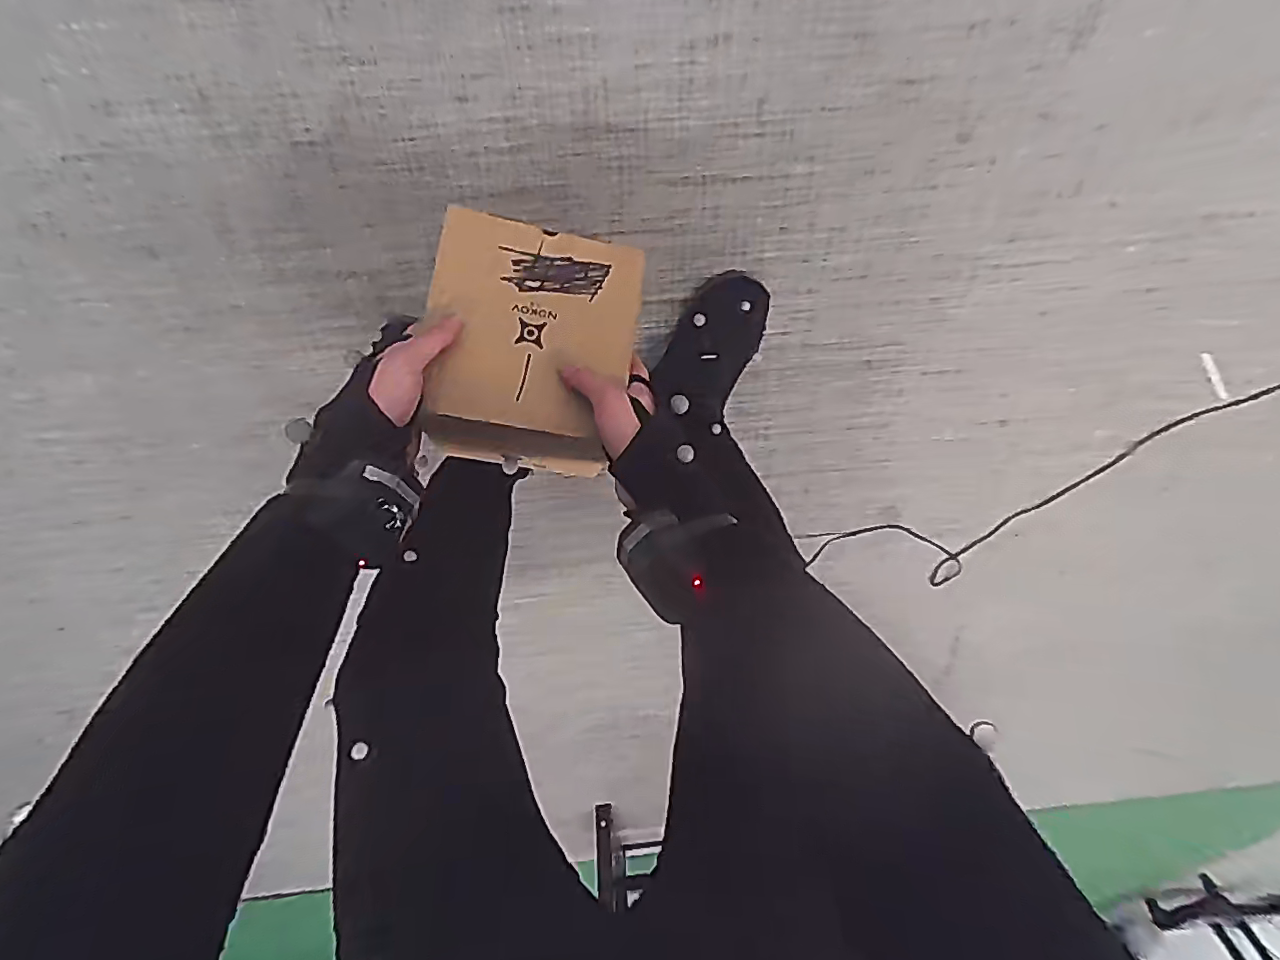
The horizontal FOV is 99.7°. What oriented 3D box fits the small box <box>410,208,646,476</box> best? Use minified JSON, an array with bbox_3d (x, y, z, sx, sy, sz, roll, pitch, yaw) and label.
[{"bbox_3d":[-0.102,-0.112,0.515,0.168,0.179,0.176,10,170,-11],"label":"small box"}]
